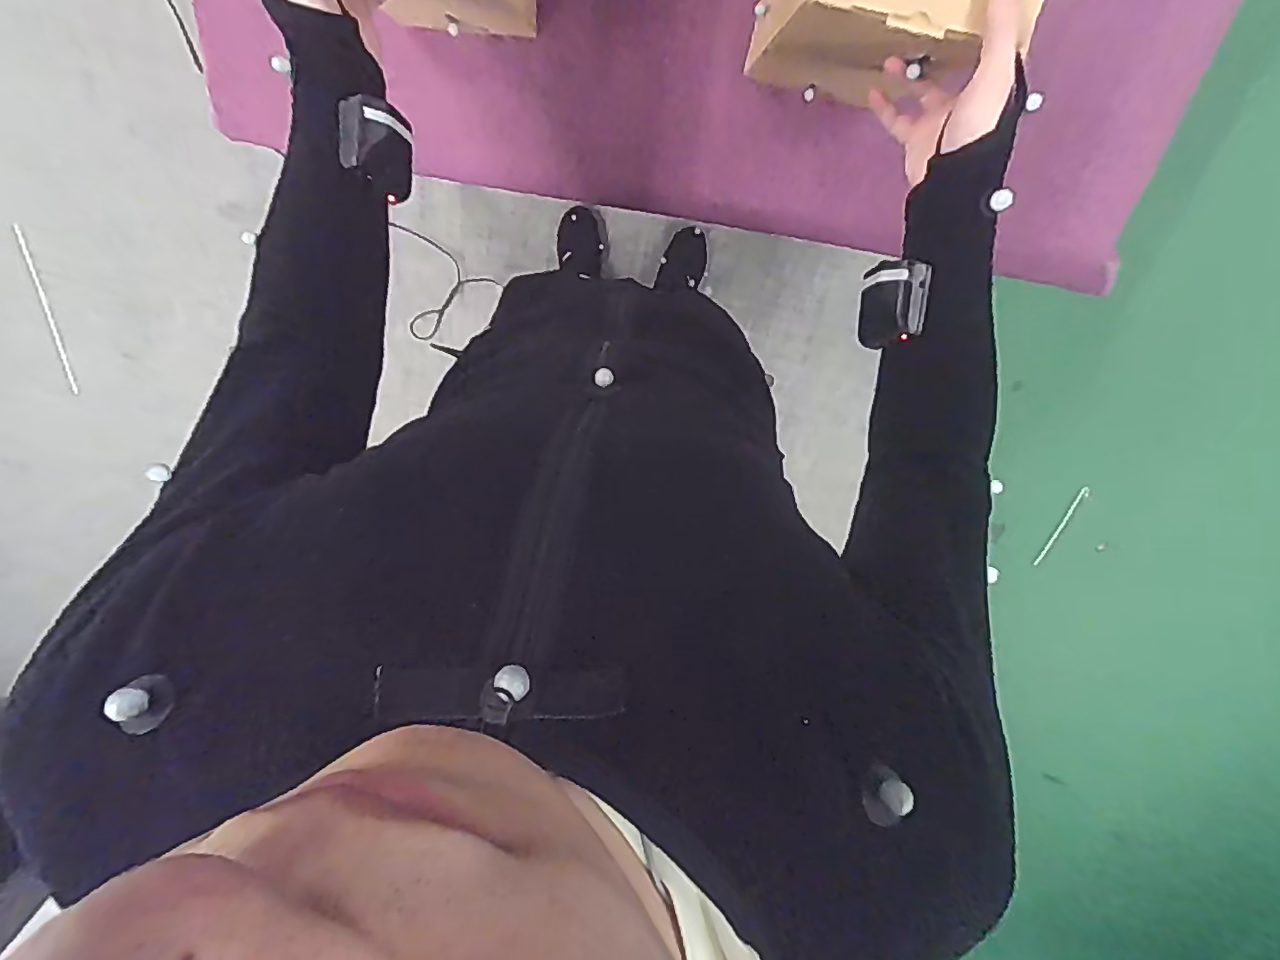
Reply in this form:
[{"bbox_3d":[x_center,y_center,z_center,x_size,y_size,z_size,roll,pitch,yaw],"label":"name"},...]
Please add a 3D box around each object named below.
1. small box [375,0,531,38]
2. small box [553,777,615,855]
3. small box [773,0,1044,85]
[{"bbox_3d":[-0.204,-0.574,0.532,0.168,0.176,0.179,5,118,-1],"label":"small box"},{"bbox_3d":[-0.190,1.172,1.892,0.179,0.176,0.168,15,118,-8],"label":"small box"},{"bbox_3d":[0.213,-0.431,0.413,0.168,0.176,0.179,10,118,-5],"label":"small box"}]
